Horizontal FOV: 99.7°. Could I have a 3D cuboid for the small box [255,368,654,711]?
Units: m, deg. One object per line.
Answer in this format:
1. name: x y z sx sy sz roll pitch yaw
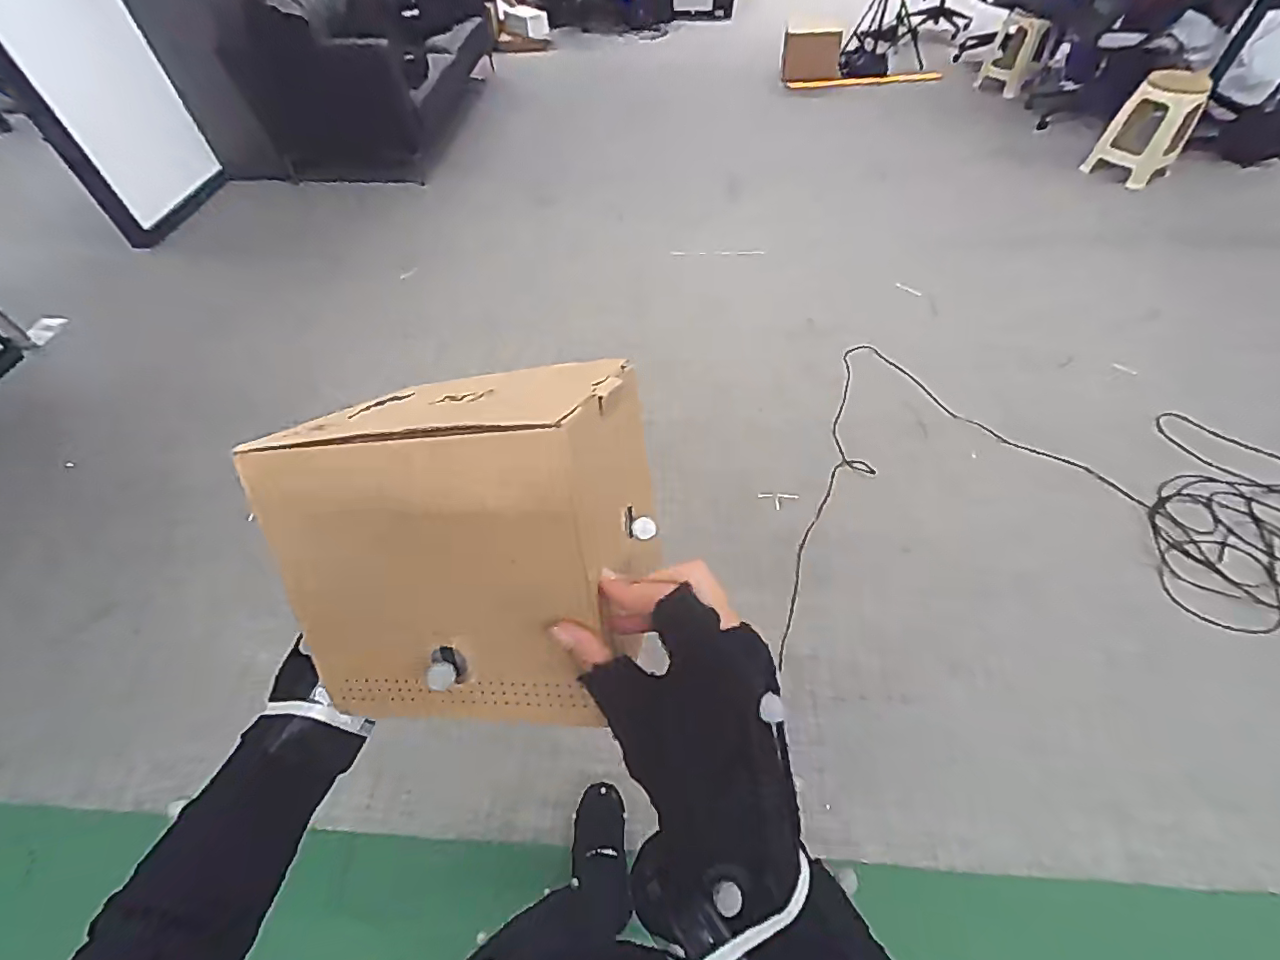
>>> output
1. small box: -0.092 0.030 0.361 0.179 0.176 0.168 -3 20 13
